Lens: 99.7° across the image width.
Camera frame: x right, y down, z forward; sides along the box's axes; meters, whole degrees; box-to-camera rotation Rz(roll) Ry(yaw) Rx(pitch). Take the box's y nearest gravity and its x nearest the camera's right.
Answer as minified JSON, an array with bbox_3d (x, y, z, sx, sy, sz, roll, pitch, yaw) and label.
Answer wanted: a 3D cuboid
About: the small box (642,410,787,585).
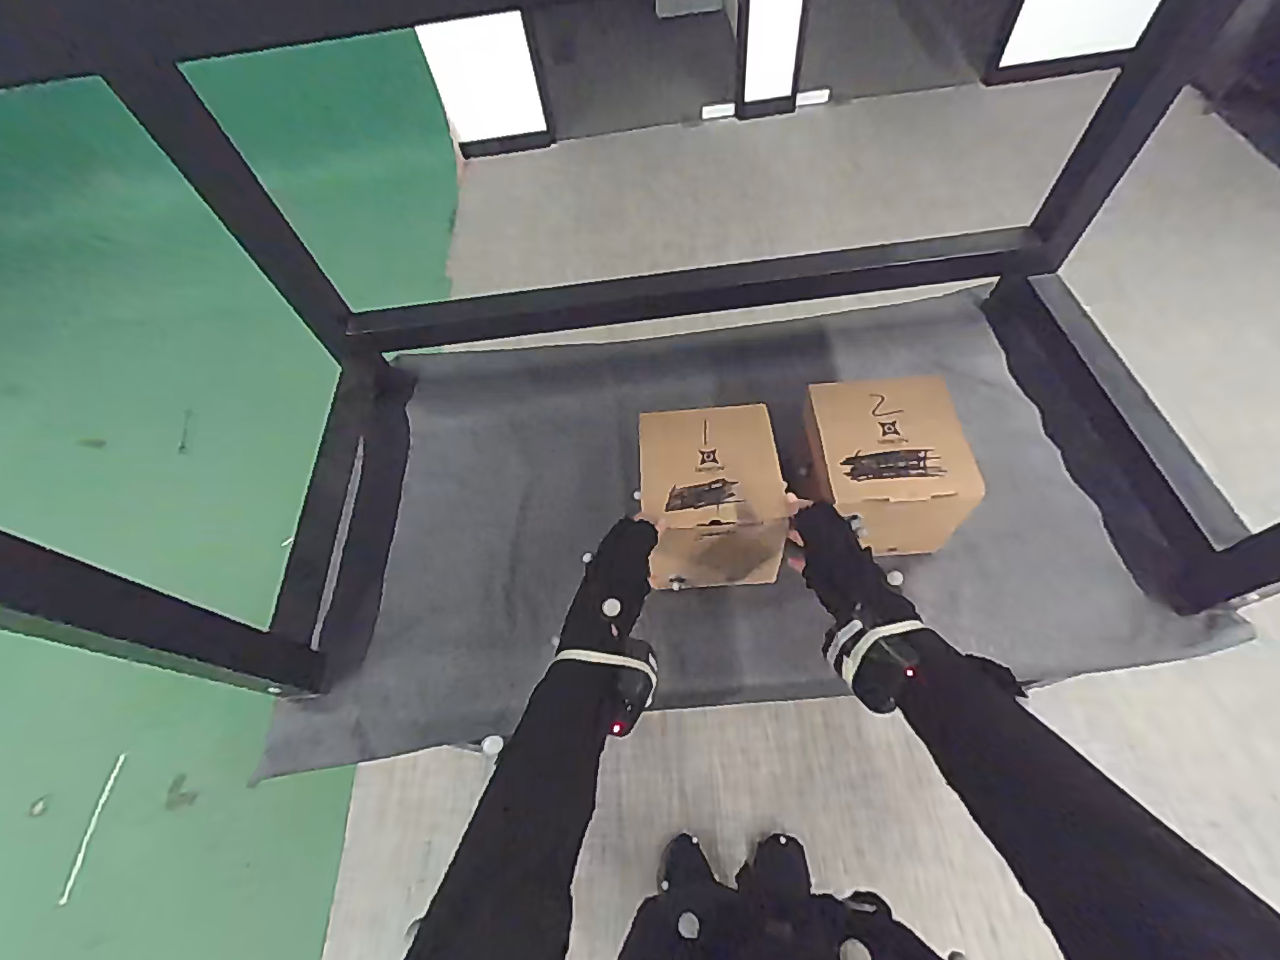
[{"bbox_3d":[0.094,0.032,0.726,0.168,0.176,0.179,-5,54,4],"label":"small box"}]
